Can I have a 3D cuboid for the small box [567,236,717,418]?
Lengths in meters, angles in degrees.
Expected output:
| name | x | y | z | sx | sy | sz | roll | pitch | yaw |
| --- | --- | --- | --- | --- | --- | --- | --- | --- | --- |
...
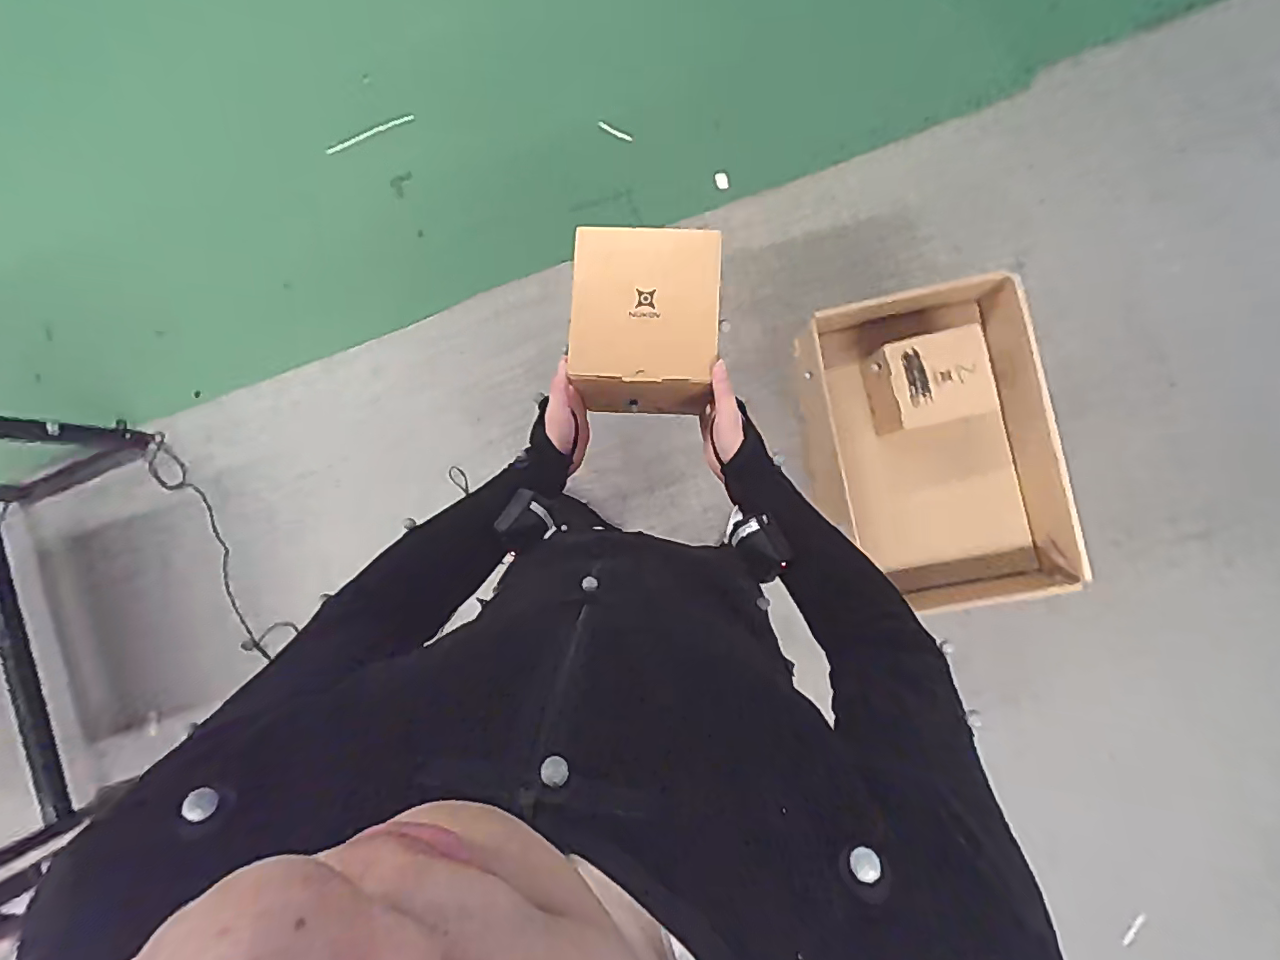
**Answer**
| name | x | y | z | sx | sy | sz | roll | pitch | yaw |
| --- | --- | --- | --- | --- | --- | --- | --- | --- | --- |
| small box | 0.003 | -0.182 | 0.685 | 0.168 | 0.176 | 0.179 | 1 | 87 | 1 |
